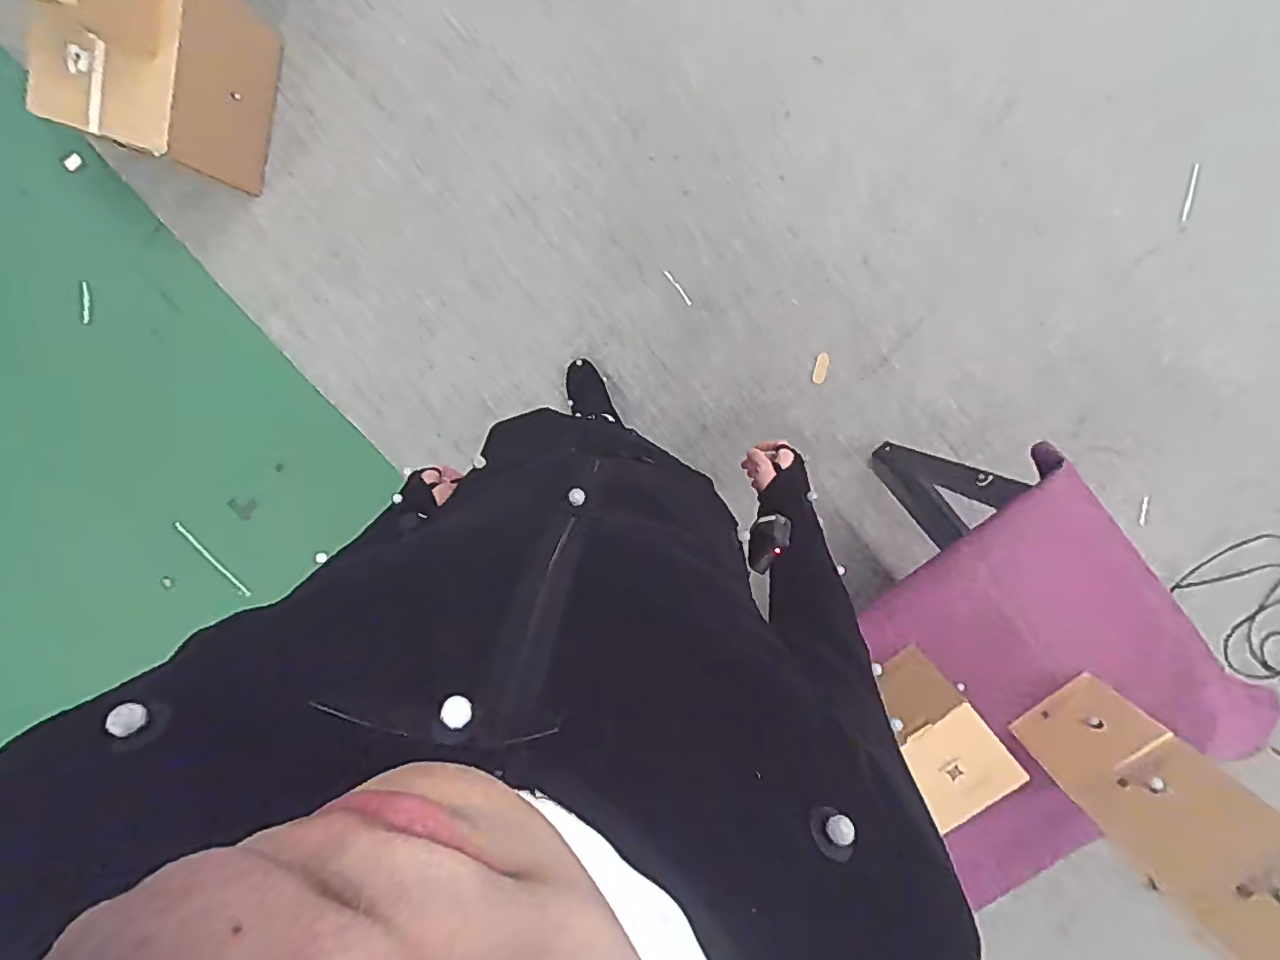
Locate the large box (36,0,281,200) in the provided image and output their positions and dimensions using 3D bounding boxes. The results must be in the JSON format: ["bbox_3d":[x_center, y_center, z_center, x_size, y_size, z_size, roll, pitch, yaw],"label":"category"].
[{"bbox_3d":[-1.141,-0.972,1.312,0.320,0.320,0.408,17,102,-1],"label":"large box"}]

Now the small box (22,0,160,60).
[{"bbox_3d":[-1.092,-0.983,1.057,0.168,0.176,0.179,16,101,-3],"label":"small box"}]

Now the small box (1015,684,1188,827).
[{"bbox_3d":[0.776,0.468,0.891,0.168,0.176,0.179,-42,98,8],"label":"small box"}]

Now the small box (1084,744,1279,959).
[{"bbox_3d":[0.771,0.505,0.731,0.168,0.176,0.179,-38,98,7],"label":"small box"}]

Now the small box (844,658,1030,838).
[{"bbox_3d":[0.469,0.421,0.884,0.168,0.176,0.179,-40,99,8],"label":"small box"}]
